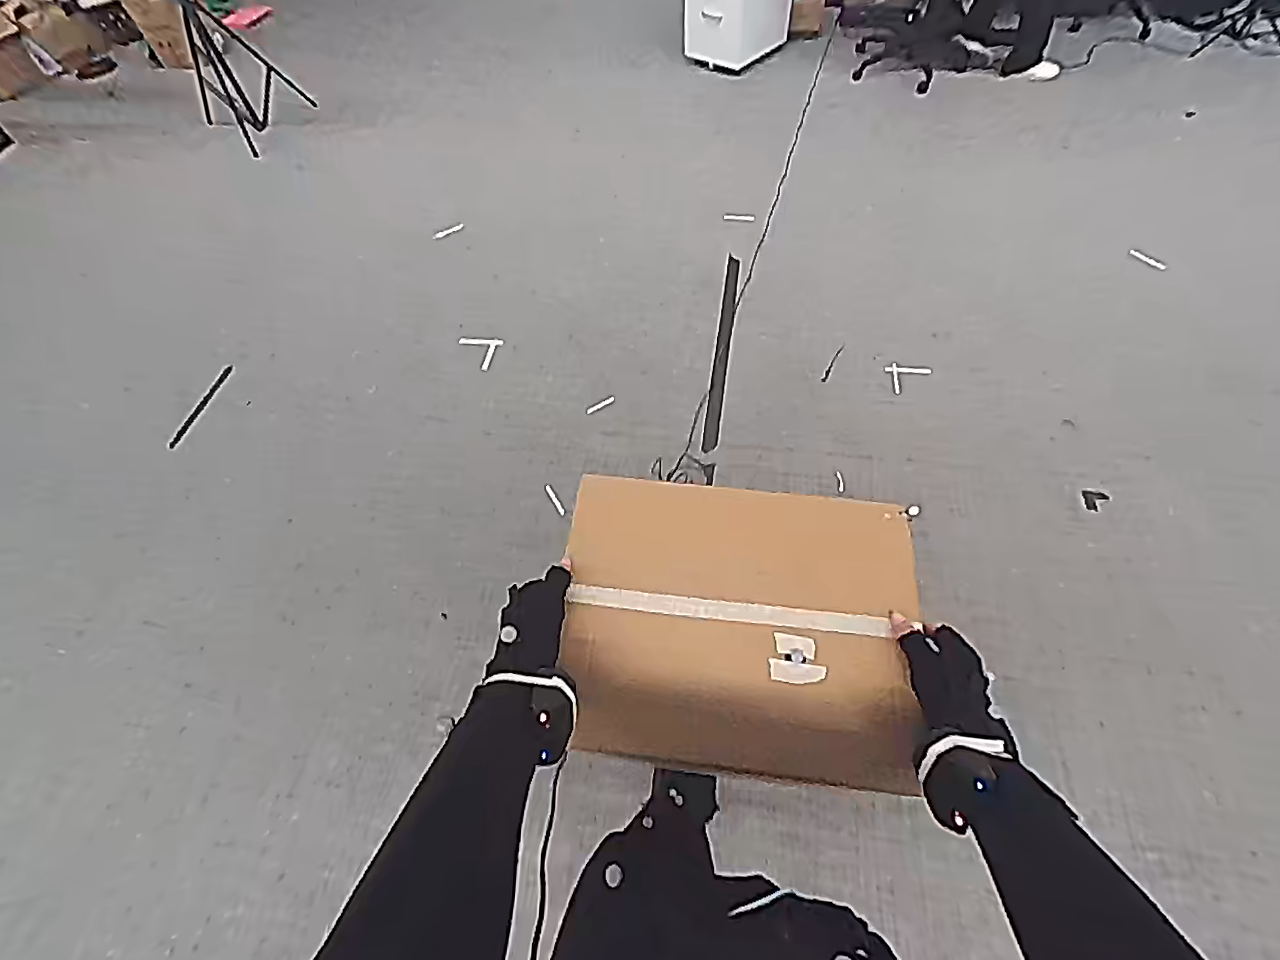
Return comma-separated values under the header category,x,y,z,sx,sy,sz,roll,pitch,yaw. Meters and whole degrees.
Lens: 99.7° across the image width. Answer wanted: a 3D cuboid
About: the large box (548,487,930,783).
category,x,y,z,sx,sy,sz,roll,pitch,yaw
large box,0.115,0.229,0.759,0.408,0.320,0.320,5,62,5
